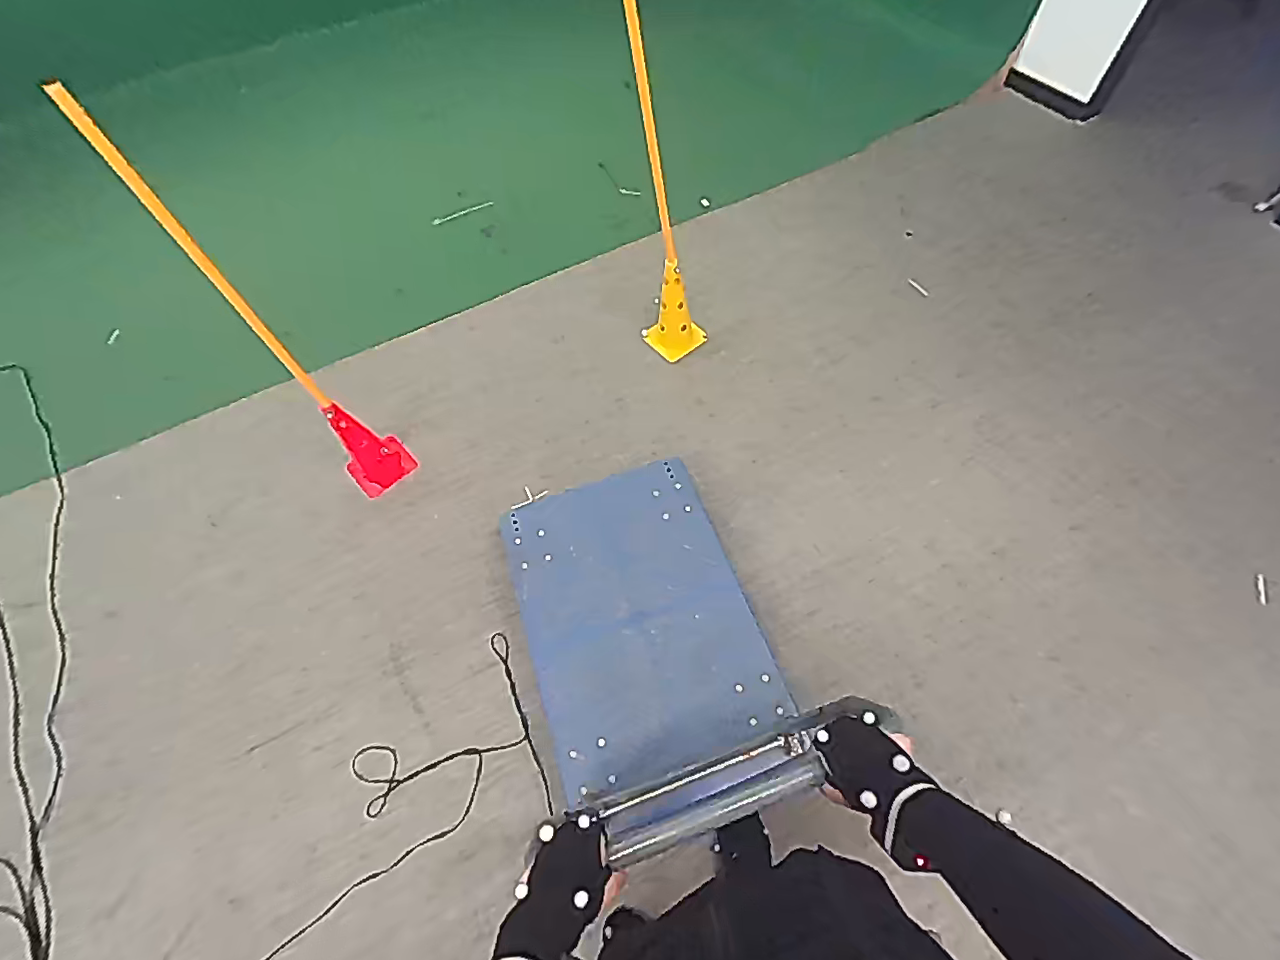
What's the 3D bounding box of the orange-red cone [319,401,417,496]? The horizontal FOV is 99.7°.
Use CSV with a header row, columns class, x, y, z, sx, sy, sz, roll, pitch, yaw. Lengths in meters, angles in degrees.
class,x,y,z,sx,sy,sz,roll,pitch,yaw
orange-red cone,-0.926,-0.134,1.765,0.199,0.360,0.198,-40,64,-15
